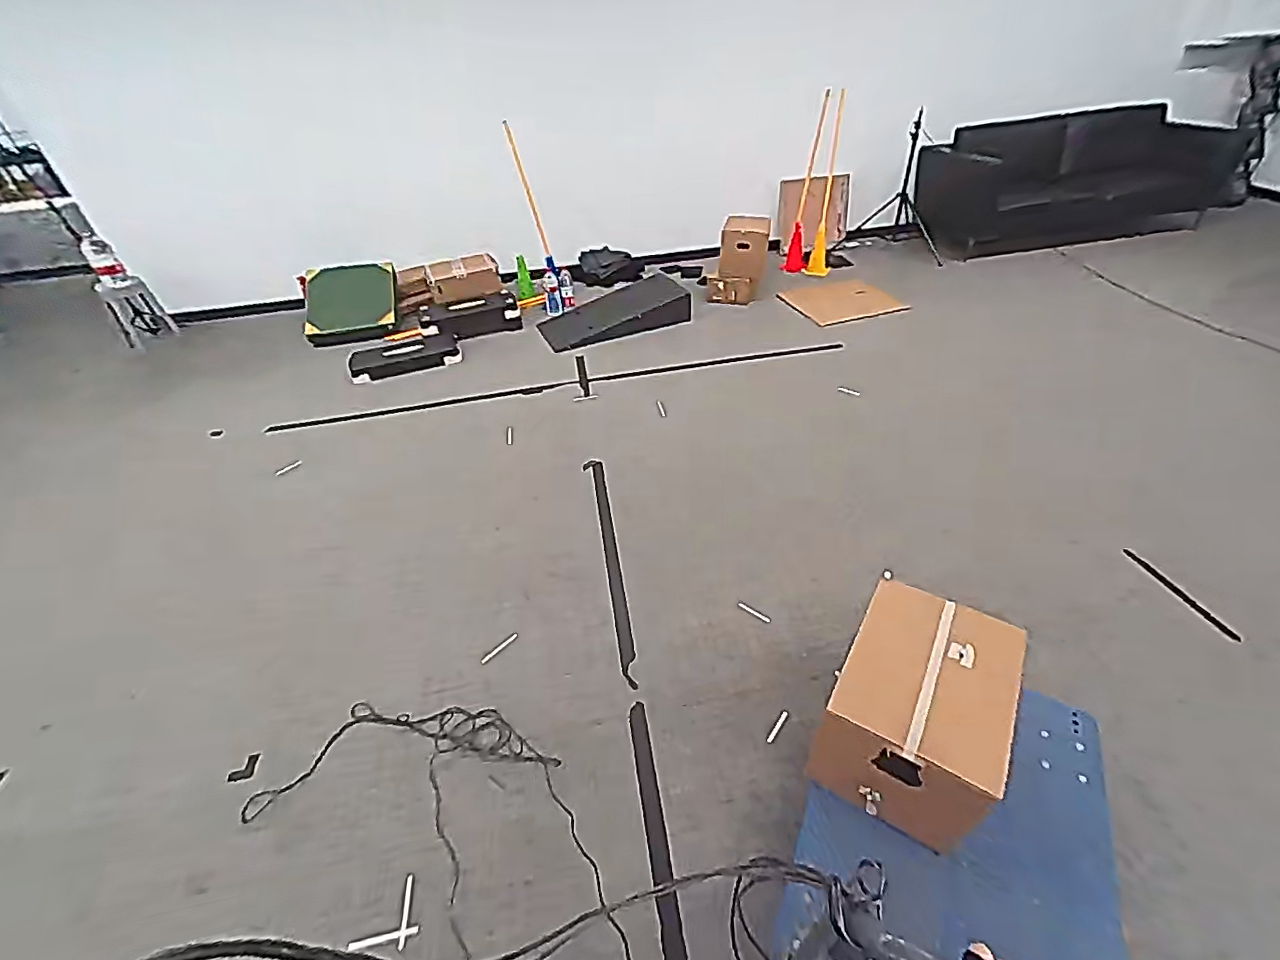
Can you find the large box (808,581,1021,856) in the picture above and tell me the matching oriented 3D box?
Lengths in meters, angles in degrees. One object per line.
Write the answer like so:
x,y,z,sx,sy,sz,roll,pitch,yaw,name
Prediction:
0.607,0.515,1.214,0.320,0.320,0.408,21,45,26,large box
